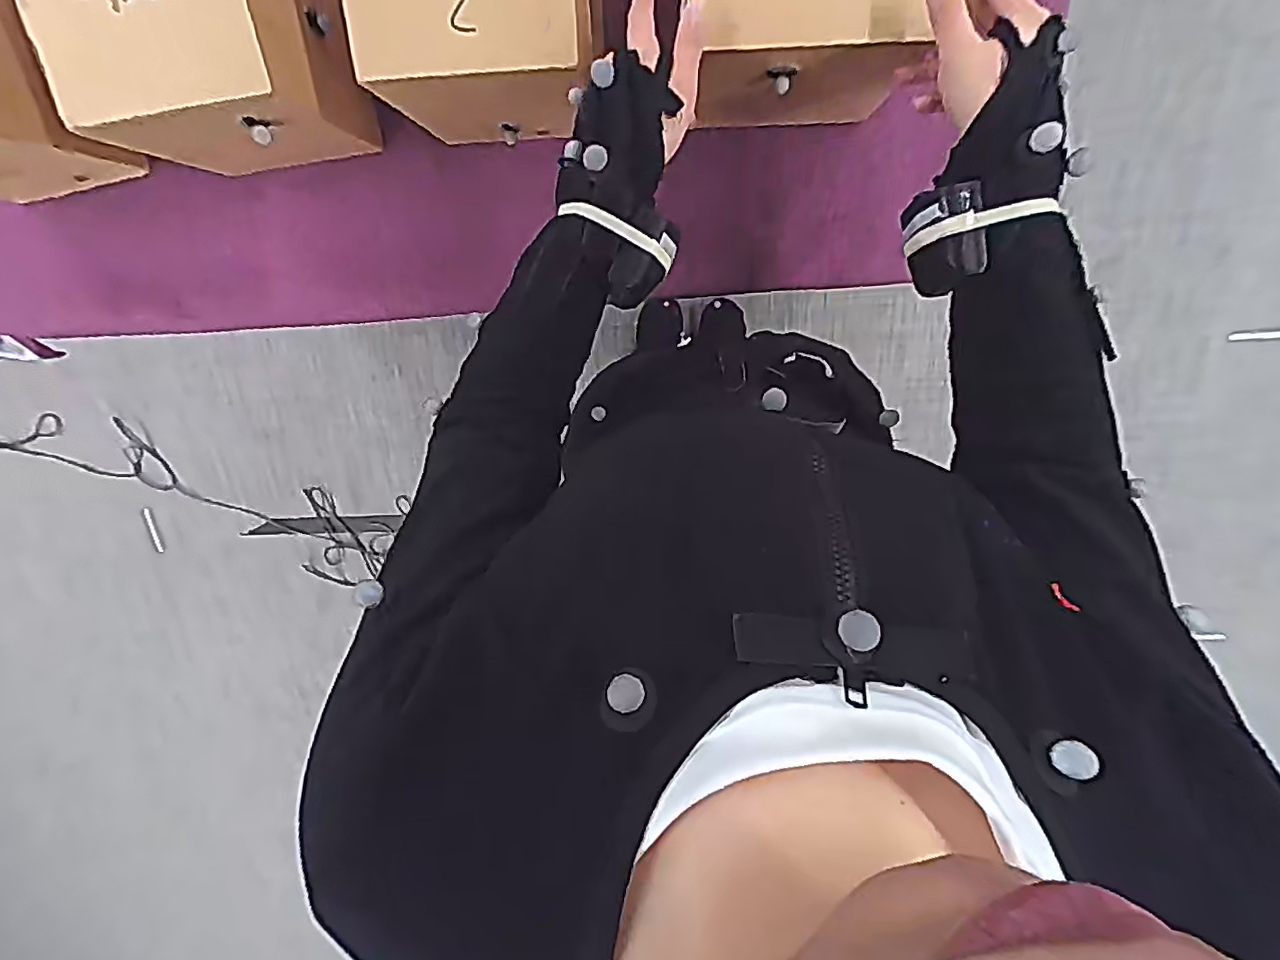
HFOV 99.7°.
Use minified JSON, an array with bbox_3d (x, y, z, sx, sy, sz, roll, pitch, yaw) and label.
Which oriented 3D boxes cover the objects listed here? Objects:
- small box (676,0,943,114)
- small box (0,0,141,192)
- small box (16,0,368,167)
[{"bbox_3d":[0.117,-0.402,0.416,0.179,0.176,0.168,1,108,2],"label":"small box"},{"bbox_3d":[-0.615,-0.371,0.480,0.168,0.176,0.179,-9,108,7],"label":"small box"},{"bbox_3d":[-0.360,-0.384,0.456,0.179,0.176,0.168,-6,108,6],"label":"small box"}]
